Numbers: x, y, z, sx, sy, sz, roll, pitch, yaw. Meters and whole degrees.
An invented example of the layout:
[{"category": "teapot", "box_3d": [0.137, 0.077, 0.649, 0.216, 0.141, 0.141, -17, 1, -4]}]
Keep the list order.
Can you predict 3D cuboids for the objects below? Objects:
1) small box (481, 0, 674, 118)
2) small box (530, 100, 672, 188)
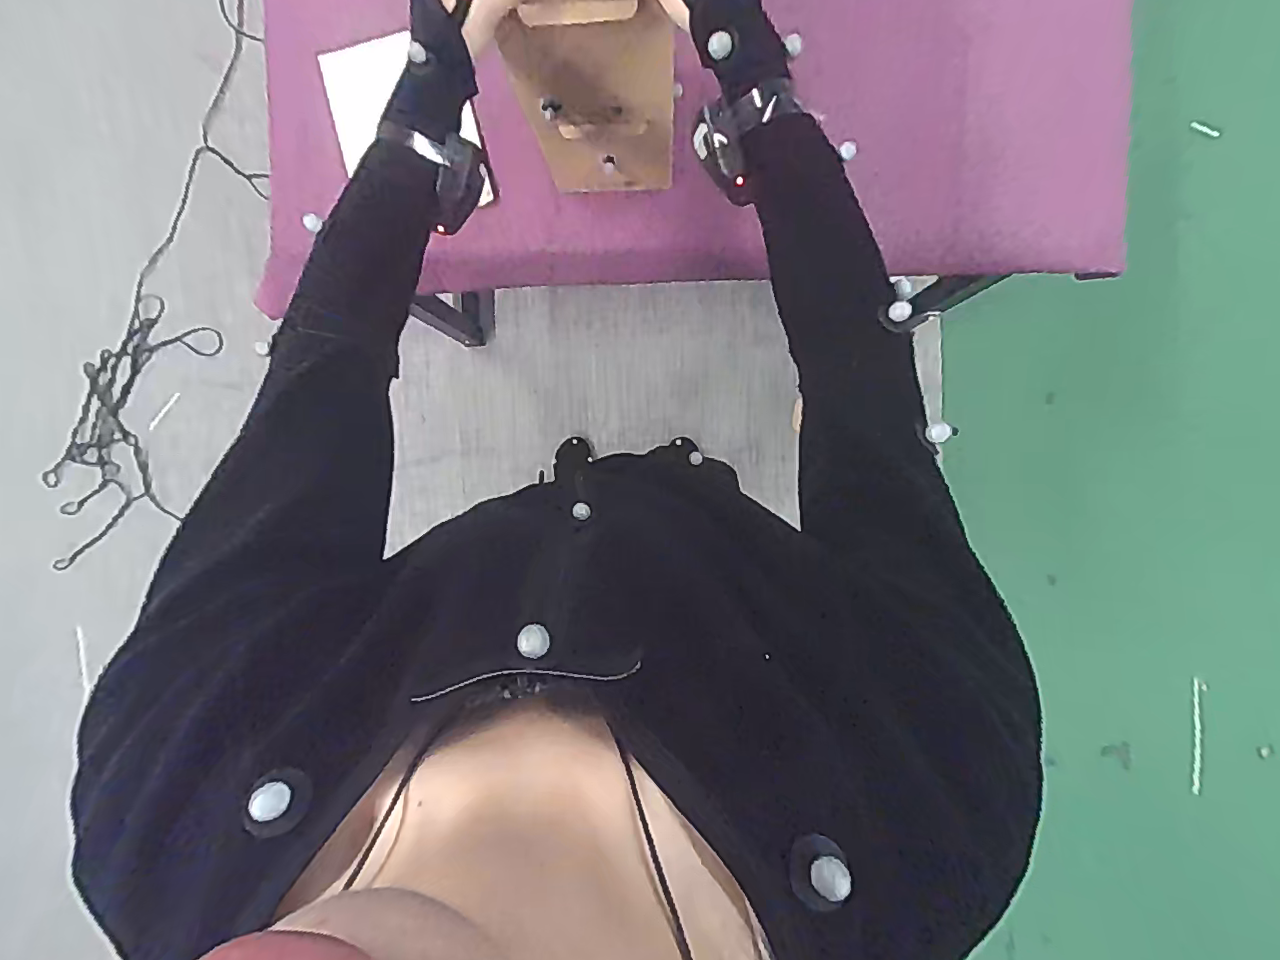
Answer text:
[{"category": "small box", "box_3d": [-0.050, -0.490, 0.532, 0.168, 0.176, 0.179, 0, 90, 3]}, {"category": "small box", "box_3d": [-0.042, -0.499, 0.697, 0.168, 0.176, 0.179, 0, 92, 2]}]
